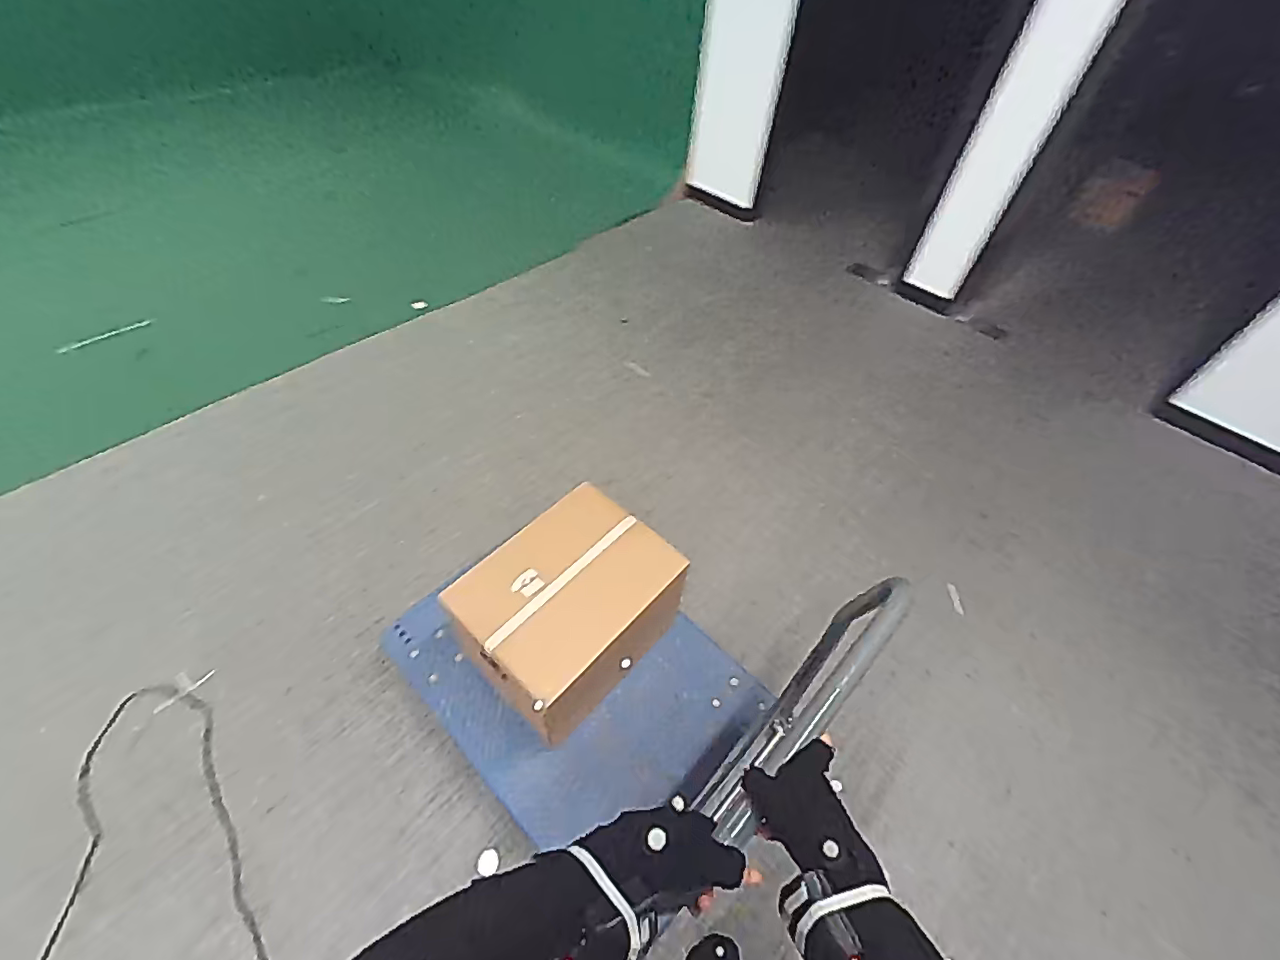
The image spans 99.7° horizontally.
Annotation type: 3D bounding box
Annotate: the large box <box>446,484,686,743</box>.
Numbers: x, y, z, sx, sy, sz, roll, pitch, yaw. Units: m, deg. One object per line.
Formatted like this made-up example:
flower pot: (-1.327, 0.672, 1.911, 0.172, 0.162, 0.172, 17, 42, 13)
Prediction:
large box: (-0.148, 0.292, 1.210, 0.320, 0.320, 0.408, 36, 58, 23)
